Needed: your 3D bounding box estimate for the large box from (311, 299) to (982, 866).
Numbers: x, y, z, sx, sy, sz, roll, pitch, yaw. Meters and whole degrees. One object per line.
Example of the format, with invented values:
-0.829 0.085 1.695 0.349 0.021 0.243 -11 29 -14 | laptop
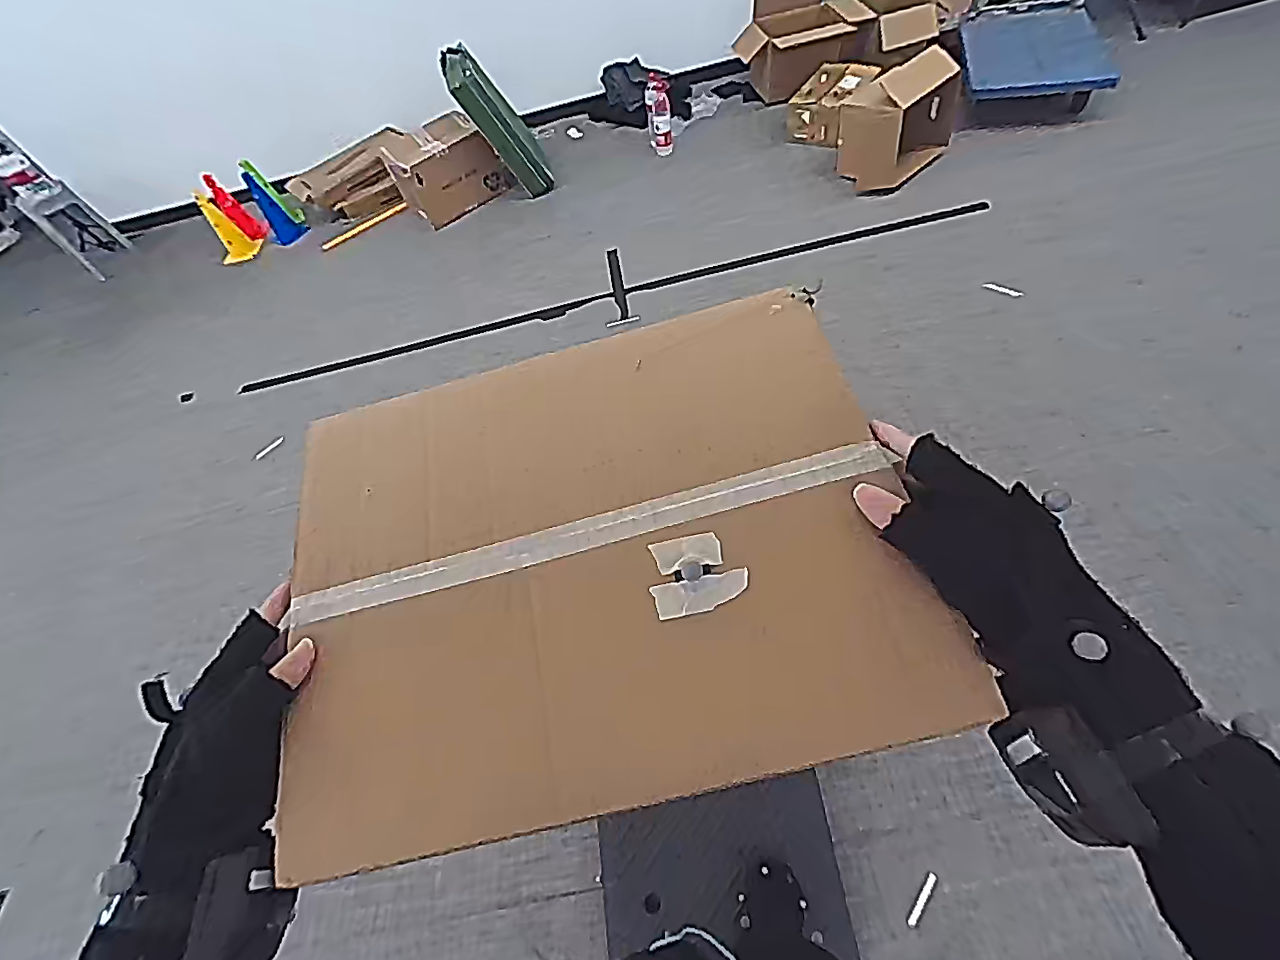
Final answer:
-0.011 0.102 0.503 0.408 0.320 0.320 -15 64 2 | large box
